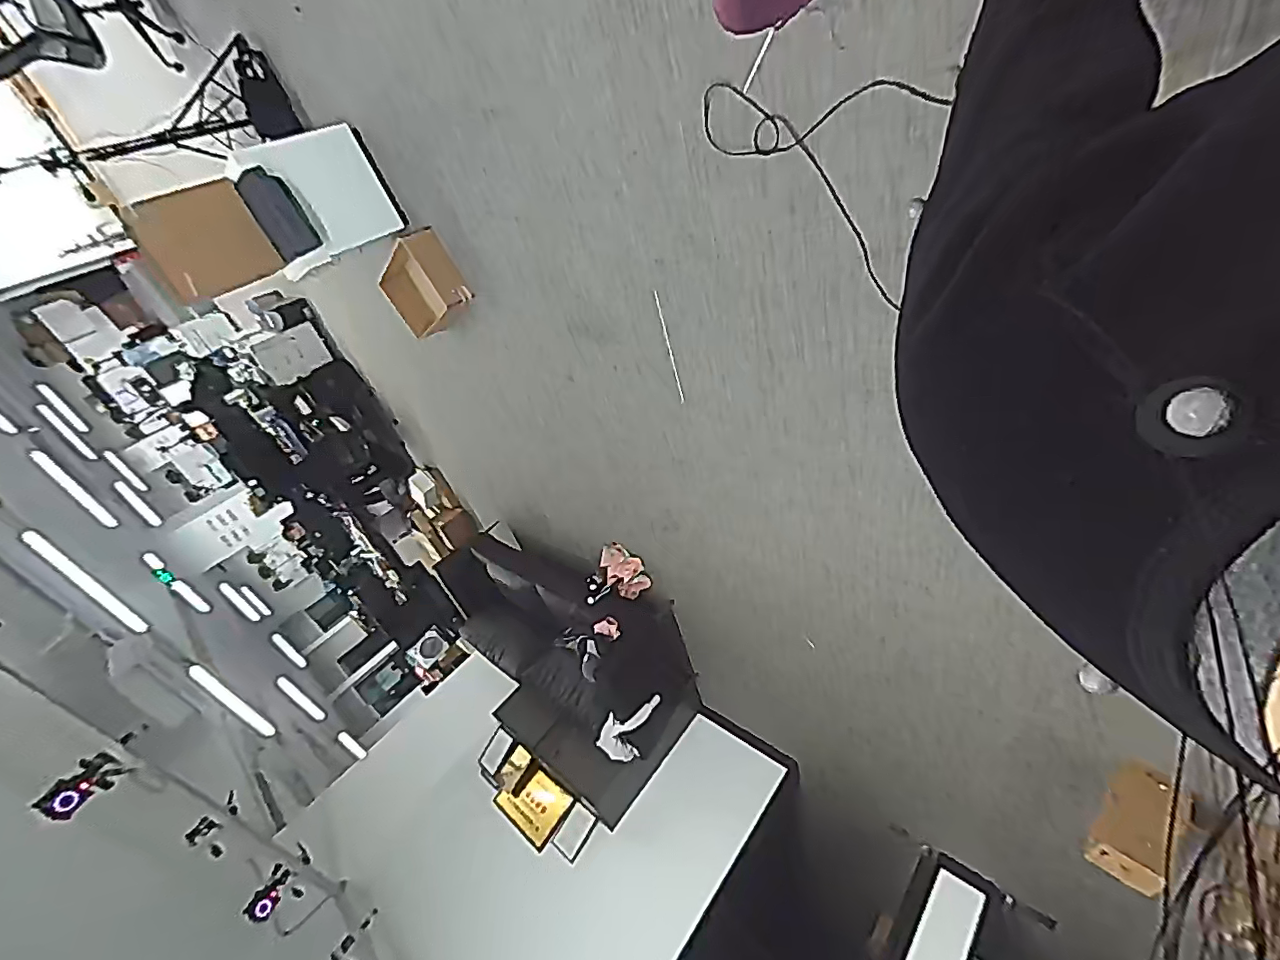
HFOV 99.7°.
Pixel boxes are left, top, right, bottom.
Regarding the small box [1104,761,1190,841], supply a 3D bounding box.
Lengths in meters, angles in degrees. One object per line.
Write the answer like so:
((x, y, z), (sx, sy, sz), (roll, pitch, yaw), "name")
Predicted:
((1.704, 1.095, 1.820), (0.168, 0.176, 0.179), (24, 141, 33), "small box")

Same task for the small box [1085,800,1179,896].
((1.586, 1.182, 1.742), (0.179, 0.176, 0.168), (24, 141, 33), "small box")
